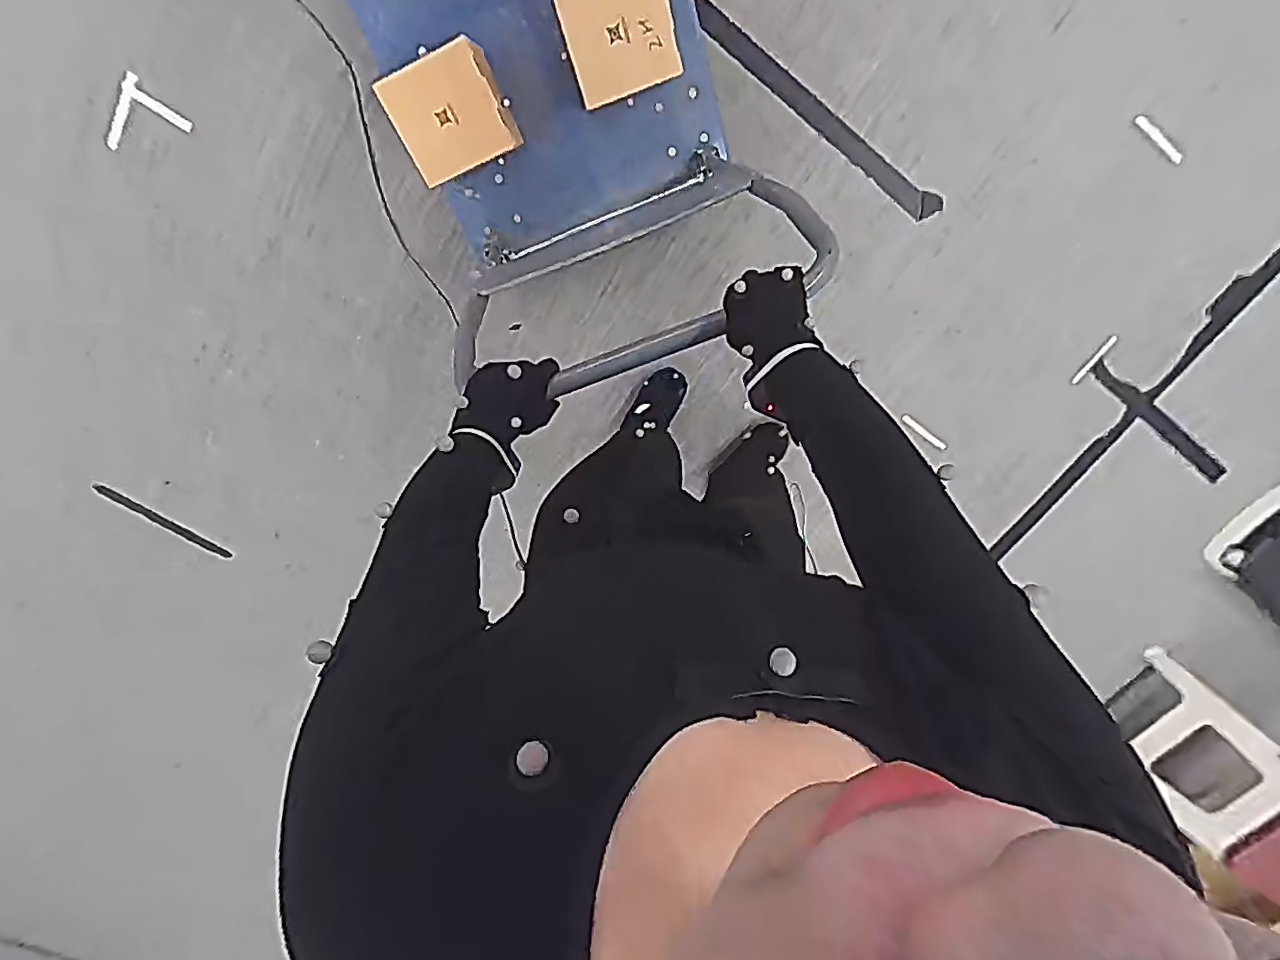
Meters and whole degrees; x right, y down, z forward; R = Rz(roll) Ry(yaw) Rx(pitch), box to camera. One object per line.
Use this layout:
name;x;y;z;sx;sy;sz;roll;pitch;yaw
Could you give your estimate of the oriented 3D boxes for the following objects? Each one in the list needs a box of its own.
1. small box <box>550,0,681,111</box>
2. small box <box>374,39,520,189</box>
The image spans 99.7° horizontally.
small box;-0.041;-0.762;0.939;0.179;0.176;0.168;-17;123;6
small box;-0.335;-0.653;0.981;0.179;0.176;0.168;-23;122;7
